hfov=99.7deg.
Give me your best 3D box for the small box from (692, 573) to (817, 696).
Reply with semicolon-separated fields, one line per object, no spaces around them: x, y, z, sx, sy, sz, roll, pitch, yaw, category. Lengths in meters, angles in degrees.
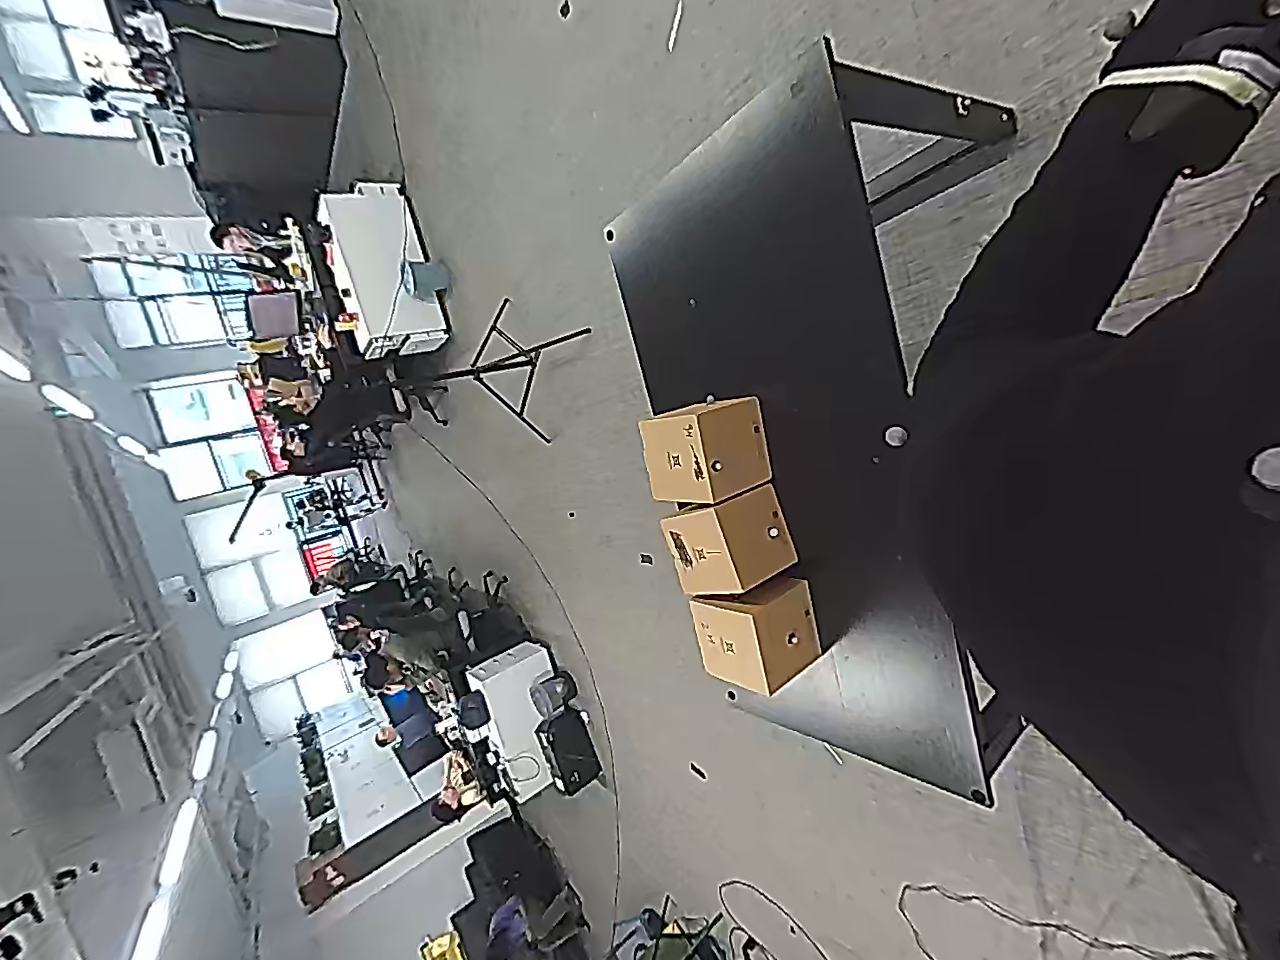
0.236;0.298;1.087;0.179;0.176;0.168;-2;103;55;small box
